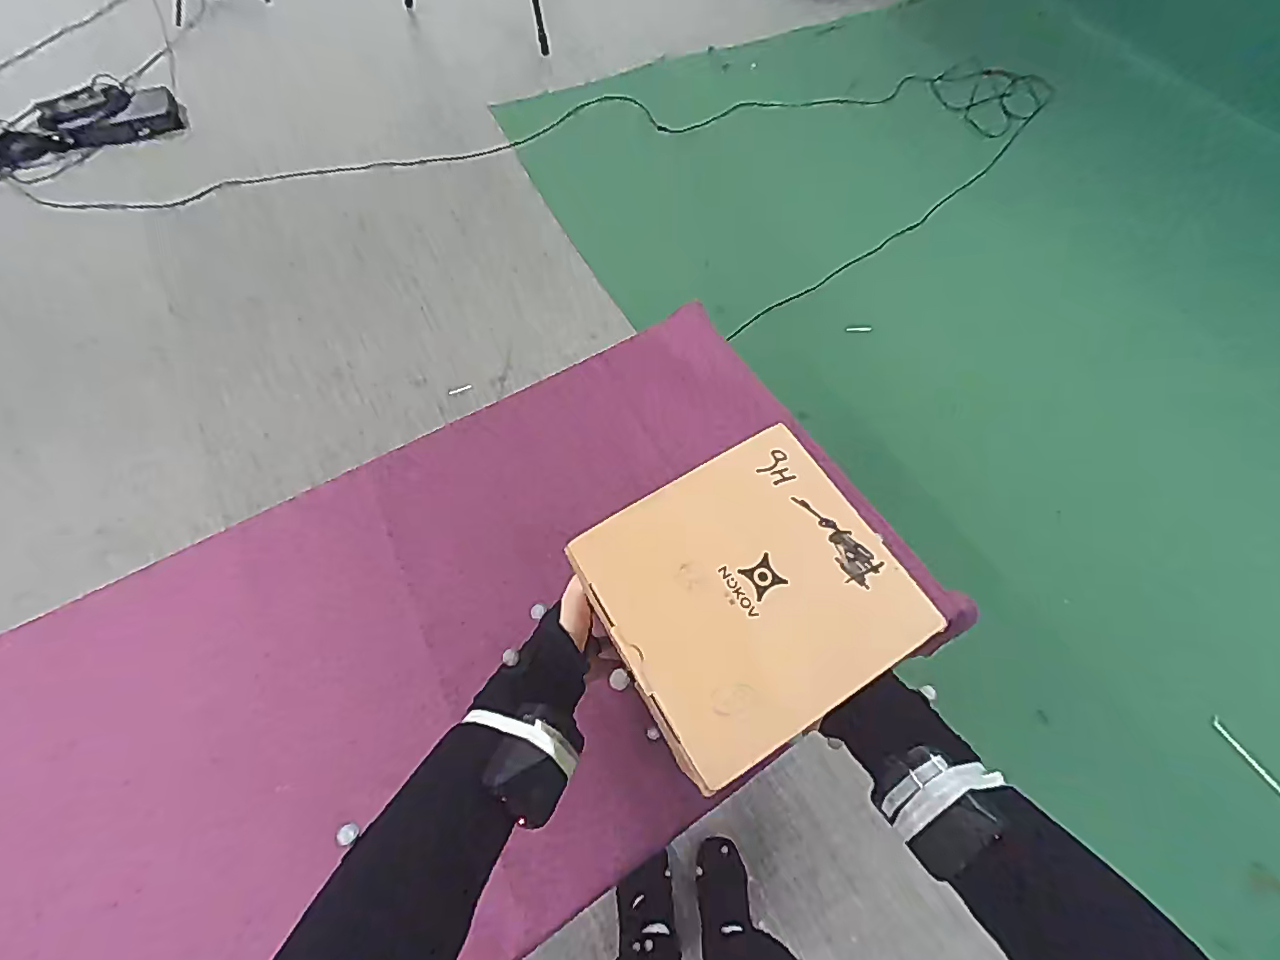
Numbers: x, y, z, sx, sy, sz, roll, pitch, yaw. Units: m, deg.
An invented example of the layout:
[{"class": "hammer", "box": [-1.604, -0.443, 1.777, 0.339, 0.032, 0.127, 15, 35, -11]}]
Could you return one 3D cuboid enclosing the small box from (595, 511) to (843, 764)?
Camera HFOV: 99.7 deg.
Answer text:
[{"class": "small box", "box": [0.069, 0.167, 0.564, 0.168, 0.176, 0.179, -29, 68, -12]}]
